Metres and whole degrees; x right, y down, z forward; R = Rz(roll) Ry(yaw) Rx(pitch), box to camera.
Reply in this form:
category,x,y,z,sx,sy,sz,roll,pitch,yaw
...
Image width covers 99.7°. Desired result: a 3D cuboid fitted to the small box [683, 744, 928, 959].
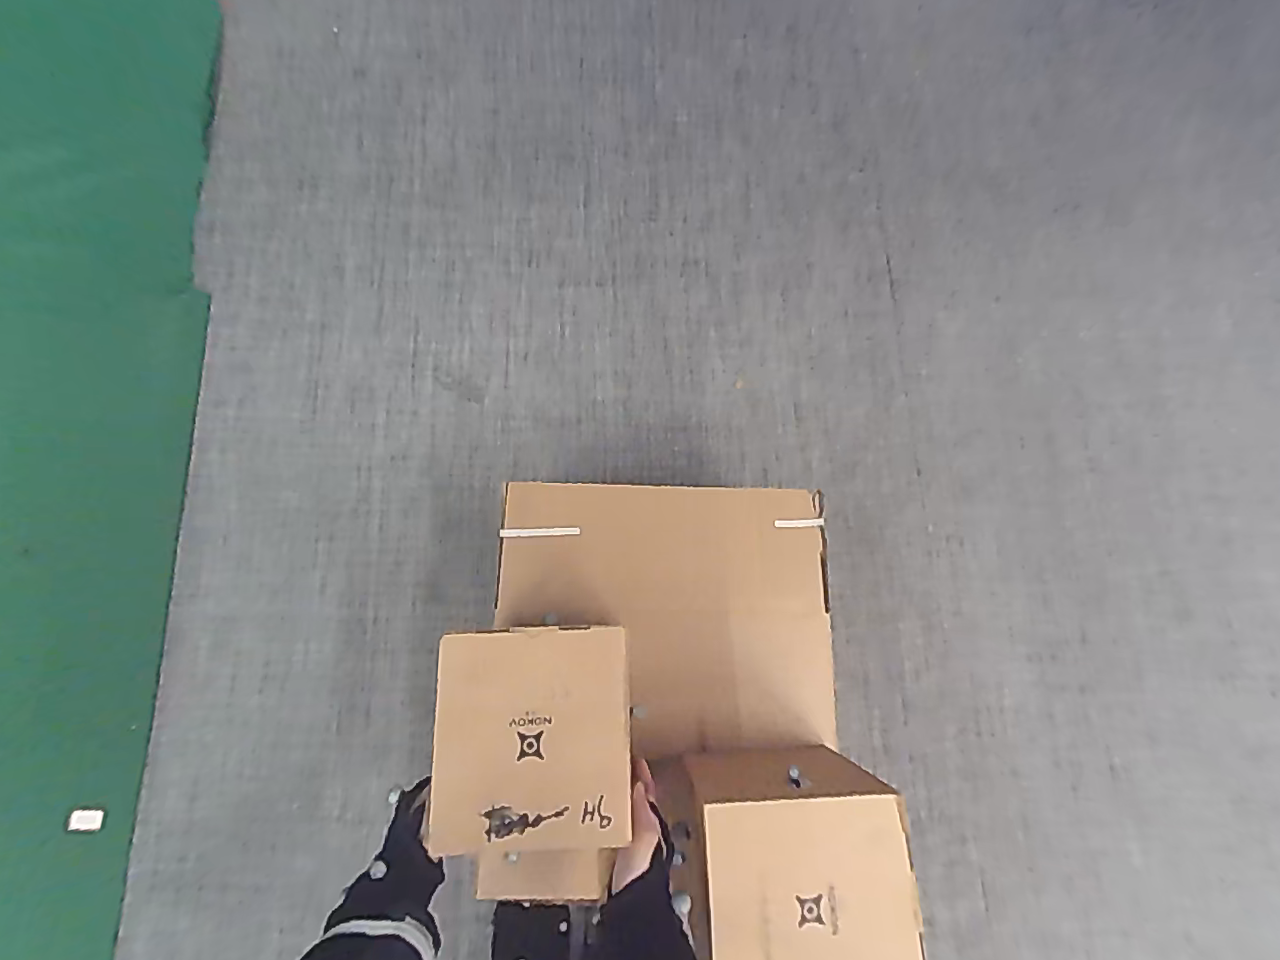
category,x,y,z,sx,sy,sz,roll,pitch,yaw
small box,0.142,0.362,0.520,0.179,0.176,0.168,-1,76,-3

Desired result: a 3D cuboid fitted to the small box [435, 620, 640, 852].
category,x,y,z,sx,sy,sz,roll,pitch,yaw
small box,-0.088,0.237,0.535,0.168,0.176,0.179,-2,73,-2
